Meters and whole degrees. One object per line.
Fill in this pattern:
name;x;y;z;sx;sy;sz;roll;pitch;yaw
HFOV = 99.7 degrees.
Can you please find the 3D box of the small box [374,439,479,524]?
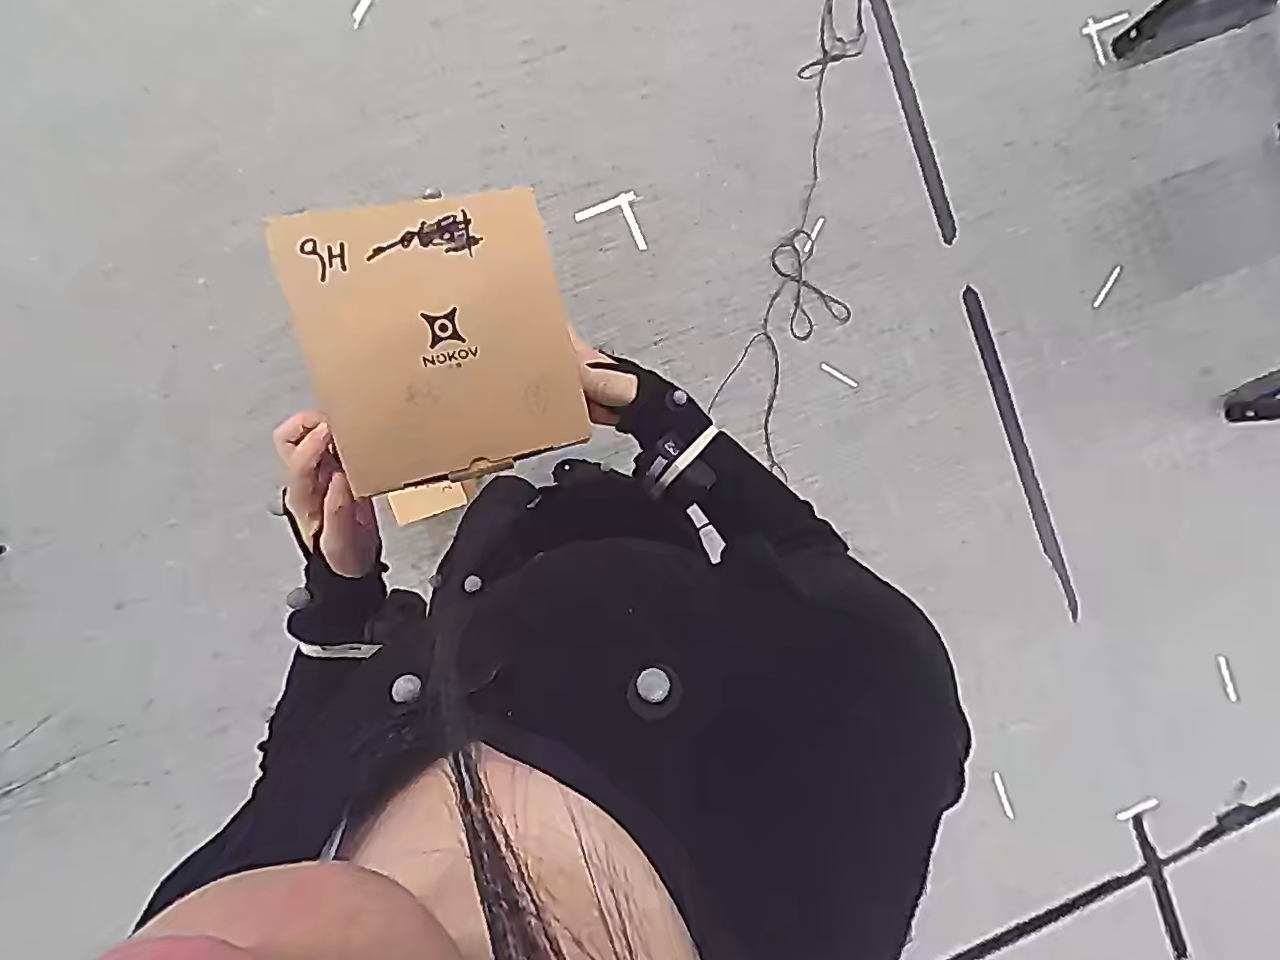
small box;-0.529;0.001;1.363;0.179;0.176;0.168;-19;94;-5
